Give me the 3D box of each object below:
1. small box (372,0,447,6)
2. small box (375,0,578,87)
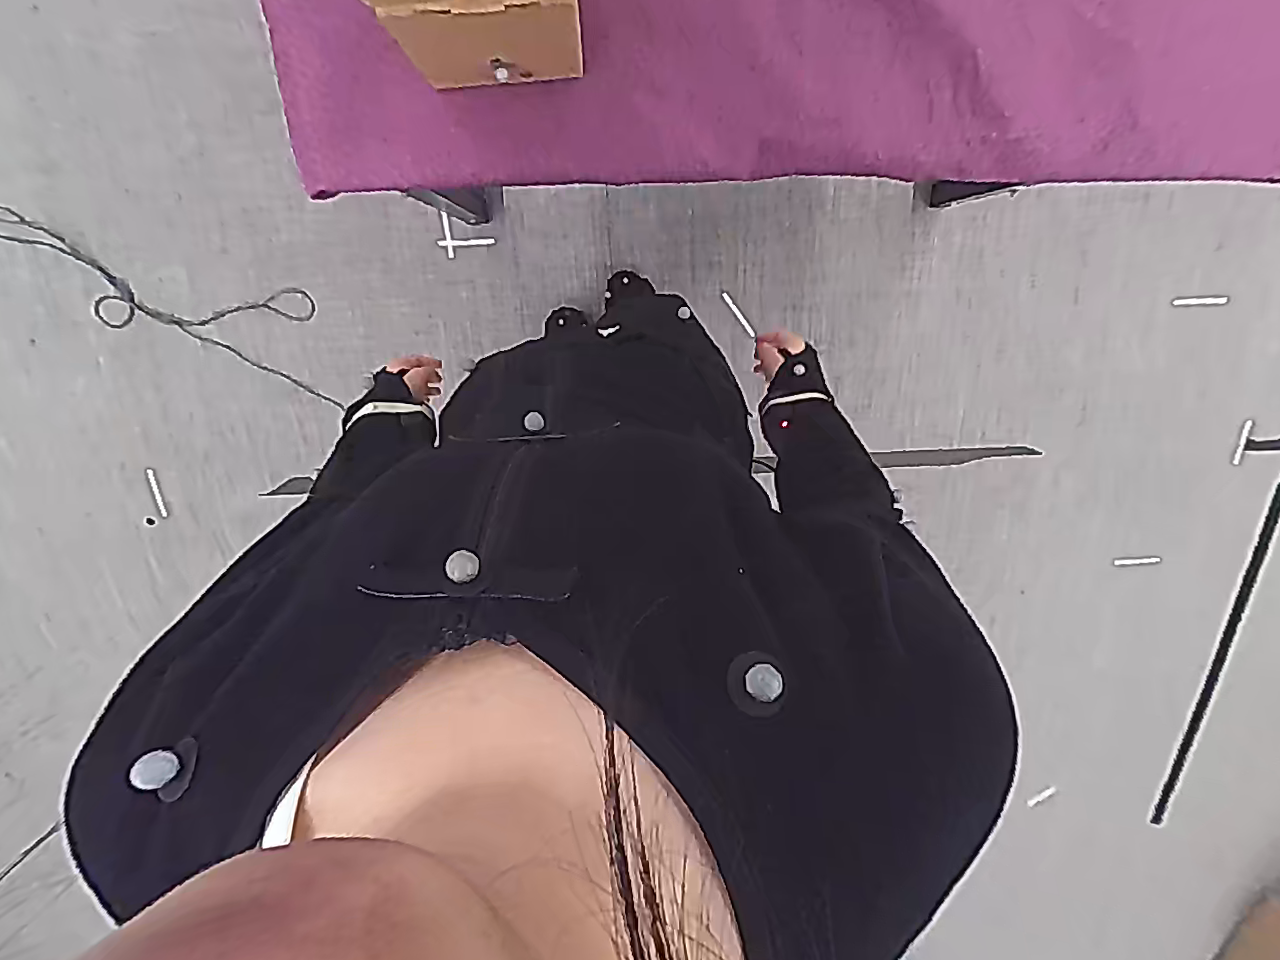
[{"bbox_3d":[-0.139,-0.448,0.343,0.179,0.176,0.168,-7,107,-1],"label":"small box"},{"bbox_3d":[-0.149,-0.498,0.497,0.168,0.176,0.179,-6,109,-2],"label":"small box"}]
